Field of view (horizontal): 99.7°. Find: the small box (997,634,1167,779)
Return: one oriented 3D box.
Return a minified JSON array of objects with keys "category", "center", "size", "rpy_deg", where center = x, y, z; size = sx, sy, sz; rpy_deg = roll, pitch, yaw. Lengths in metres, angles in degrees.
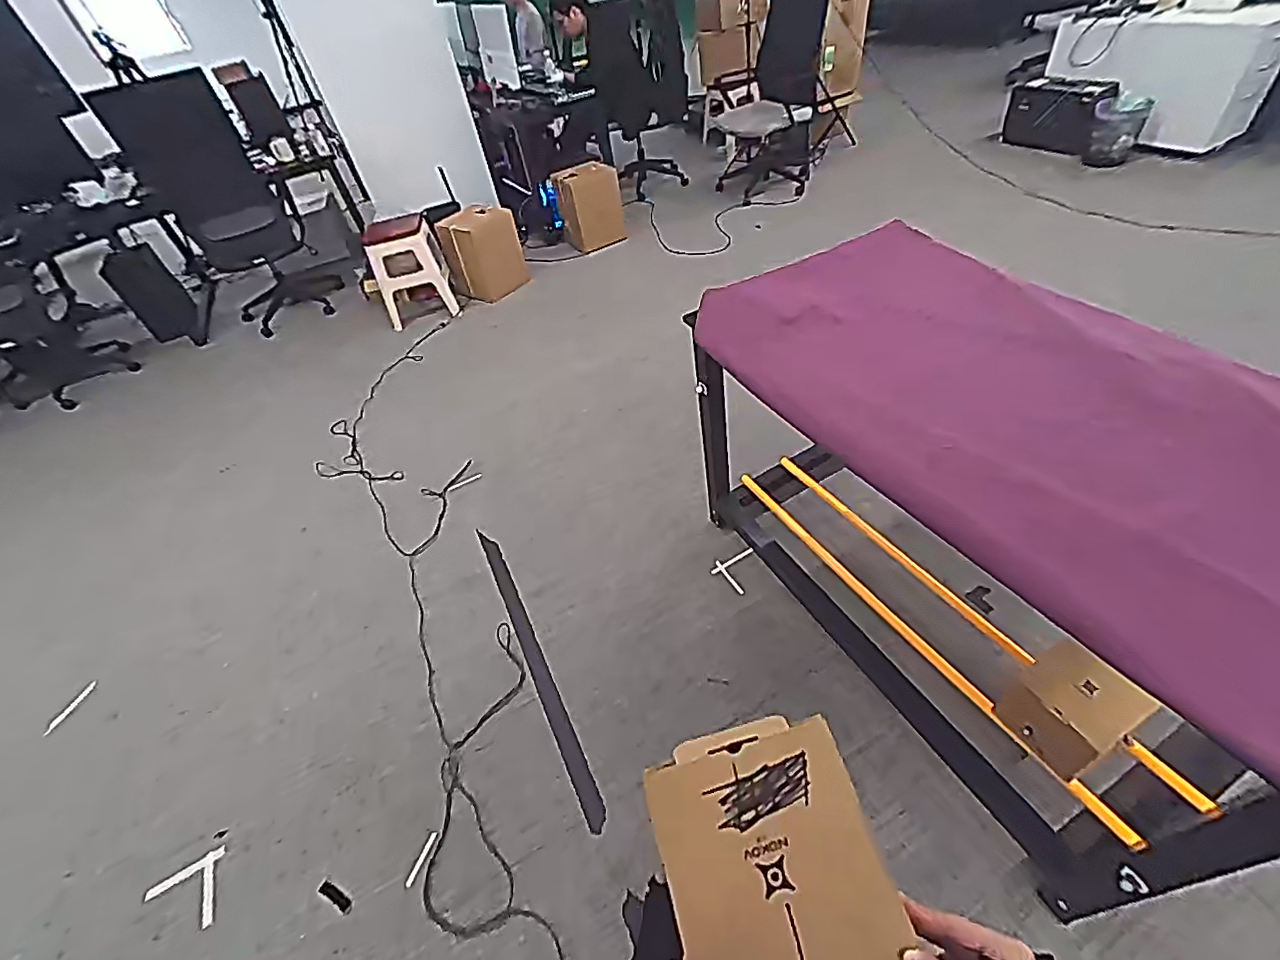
[{"category":"small box","center":[0.840,0.440,1.051],"size":[0.179,0.176,0.168],"rpy_deg":[-28,46,-13]}]

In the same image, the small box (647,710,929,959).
[{"category":"small box","center":[0.111,0.330,0.480],"size":[0.168,0.176,0.179],"rpy_deg":[-16,57,-2]}]
